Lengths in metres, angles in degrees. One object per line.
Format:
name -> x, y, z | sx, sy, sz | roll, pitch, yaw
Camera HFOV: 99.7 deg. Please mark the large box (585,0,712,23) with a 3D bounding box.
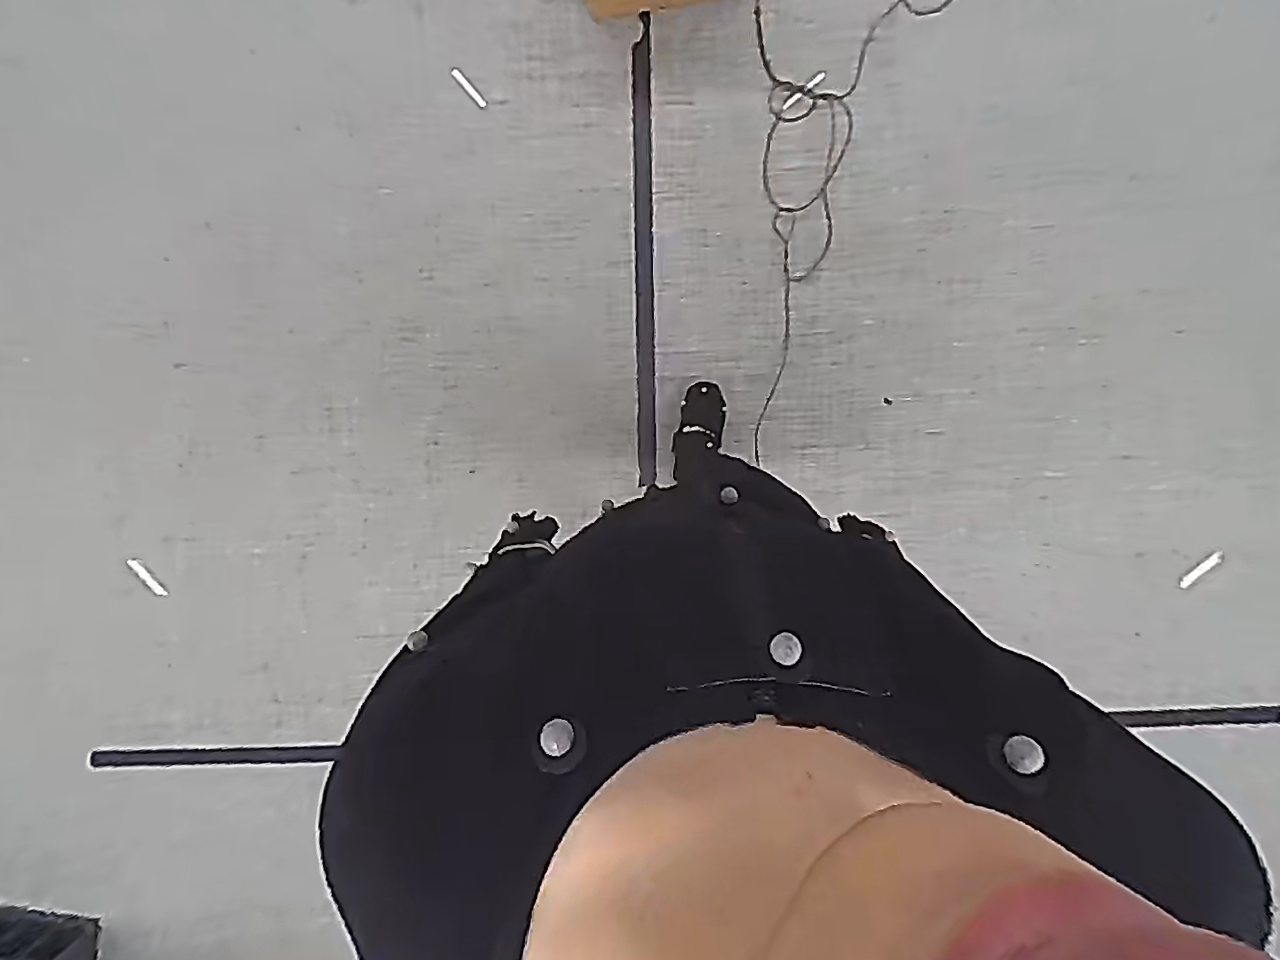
large box -> 0.036, -1.349, 1.236 | 0.408, 0.320, 0.320 | -10, 94, 0
